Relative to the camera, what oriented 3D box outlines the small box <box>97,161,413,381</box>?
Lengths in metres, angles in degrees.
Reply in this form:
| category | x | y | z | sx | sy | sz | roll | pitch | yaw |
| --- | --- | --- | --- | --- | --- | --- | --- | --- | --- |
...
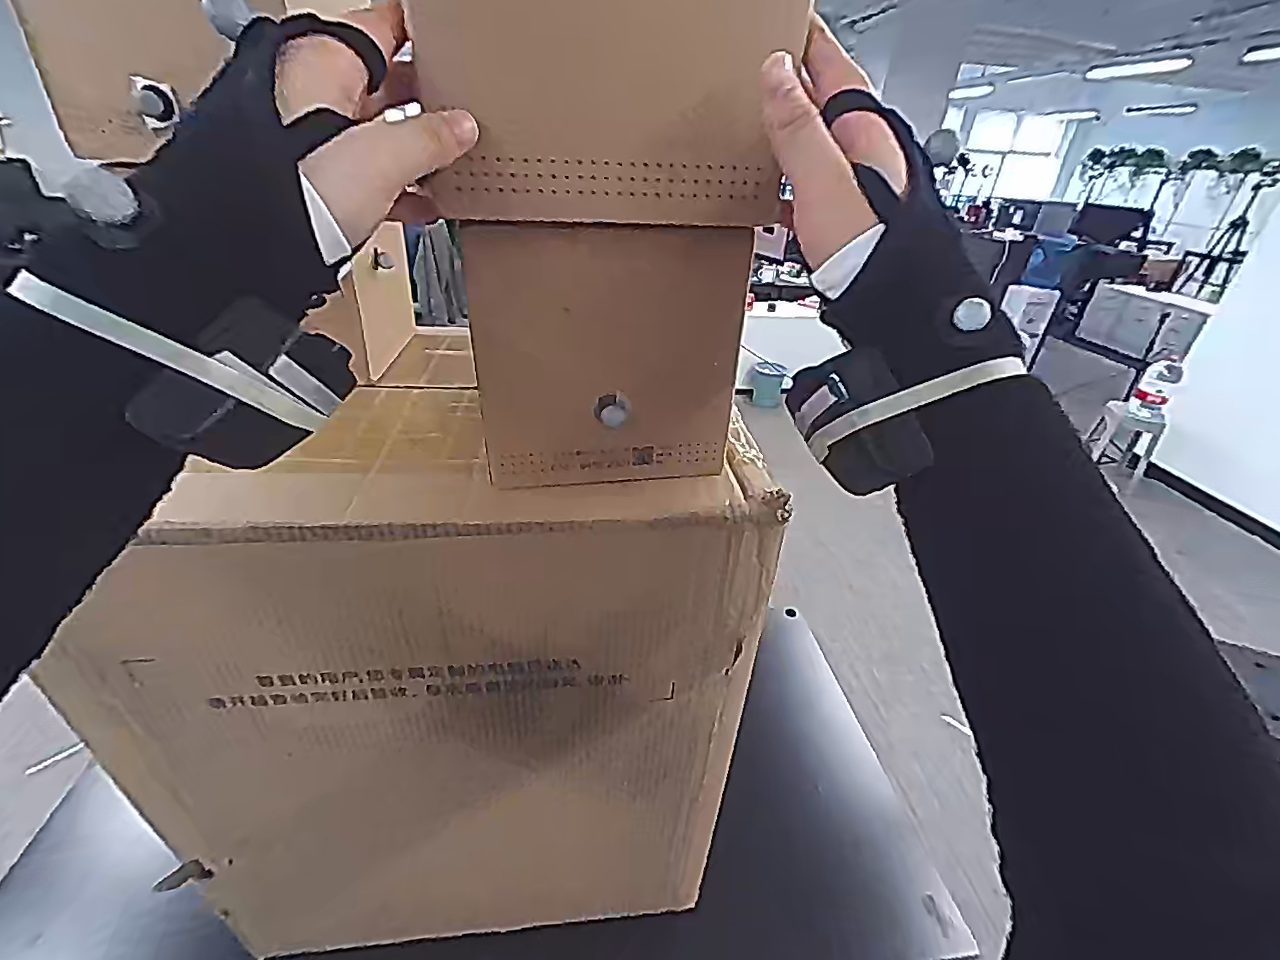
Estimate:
| category | x | y | z | sx | sy | sz | roll | pitch | yaw |
| --- | --- | --- | --- | --- | --- | --- | --- | --- | --- |
| small box | -0.323 | -0.200 | 0.508 | 0.168 | 0.176 | 0.179 | 0 | 31 | -9 |

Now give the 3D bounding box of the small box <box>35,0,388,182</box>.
| category | x | y | z | sx | sy | sz | roll | pitch | yaw |
| --- | --- | --- | --- | --- | --- | --- | --- | --- | --- |
| small box | -0.307 | -0.332 | 0.411 | 0.168 | 0.176 | 0.179 | 0 | 31 | -6 |

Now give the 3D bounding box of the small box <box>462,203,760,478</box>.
| category | x | y | z | sx | sy | sz | roll | pitch | yaw |
| --- | --- | --- | --- | --- | --- | --- | --- | --- | --- |
| small box | -0.029 | -0.117 | 0.402 | 0.168 | 0.176 | 0.179 | -4 | 33 | -9 |

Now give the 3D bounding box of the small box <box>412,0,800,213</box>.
| category | x | y | z | sx | sy | sz | roll | pitch | yaw |
| --- | --- | --- | --- | --- | --- | --- | --- | --- | --- |
| small box | -0.020 | -0.244 | 0.293 | 0.179 | 0.176 | 0.168 | -2 | 32 | -8 |
